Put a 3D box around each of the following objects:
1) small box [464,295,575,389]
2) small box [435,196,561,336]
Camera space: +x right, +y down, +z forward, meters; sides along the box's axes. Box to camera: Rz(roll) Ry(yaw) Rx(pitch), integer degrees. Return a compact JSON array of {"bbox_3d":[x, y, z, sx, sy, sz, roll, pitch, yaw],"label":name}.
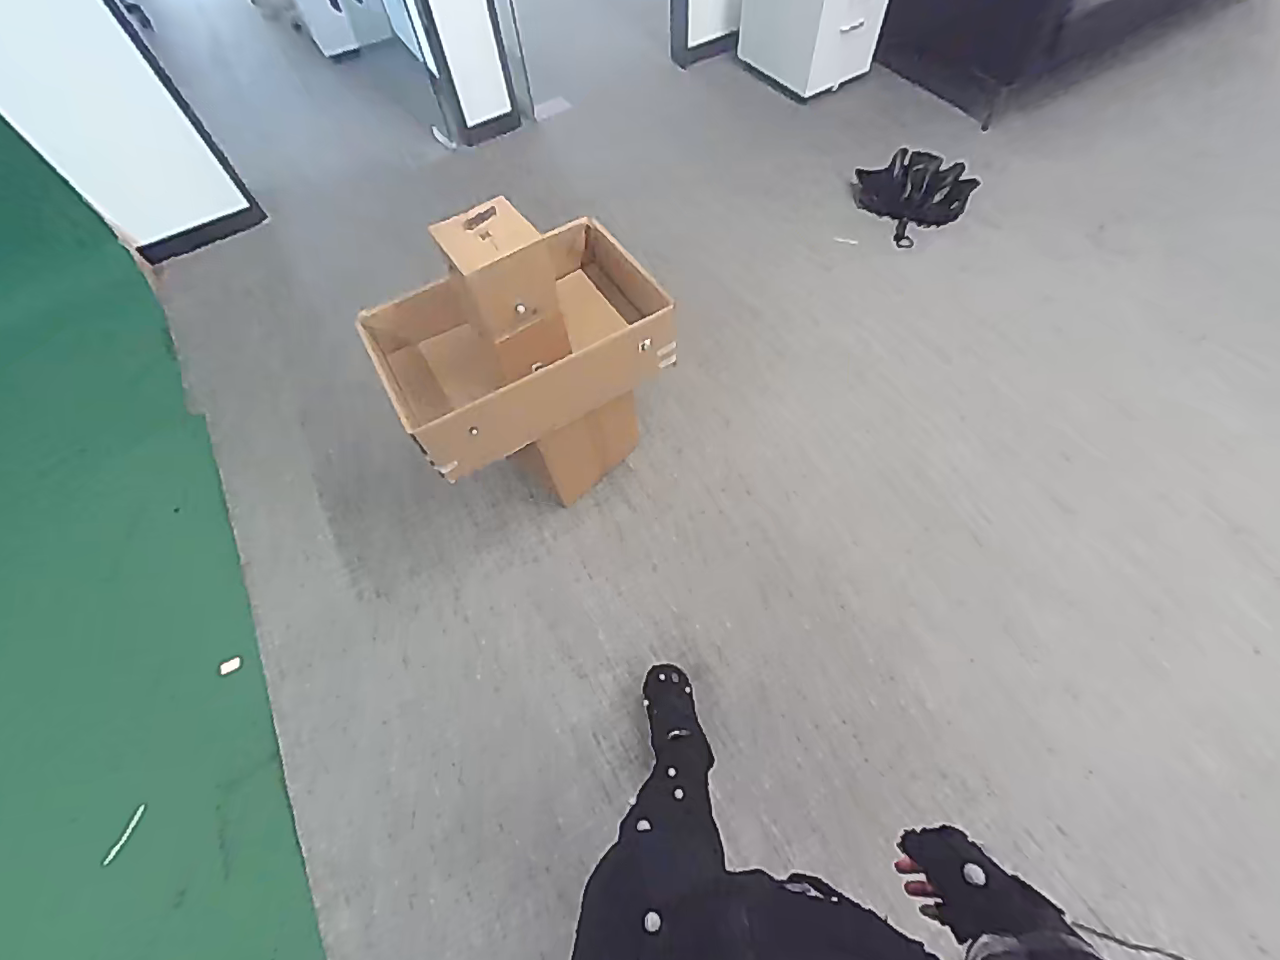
[{"bbox_3d":[-0.269,-0.344,1.234,0.168,0.176,0.179,-33,64,-14],"label":"small box"},{"bbox_3d":[-0.280,-0.428,1.094,0.168,0.176,0.179,-32,63,-12],"label":"small box"}]
